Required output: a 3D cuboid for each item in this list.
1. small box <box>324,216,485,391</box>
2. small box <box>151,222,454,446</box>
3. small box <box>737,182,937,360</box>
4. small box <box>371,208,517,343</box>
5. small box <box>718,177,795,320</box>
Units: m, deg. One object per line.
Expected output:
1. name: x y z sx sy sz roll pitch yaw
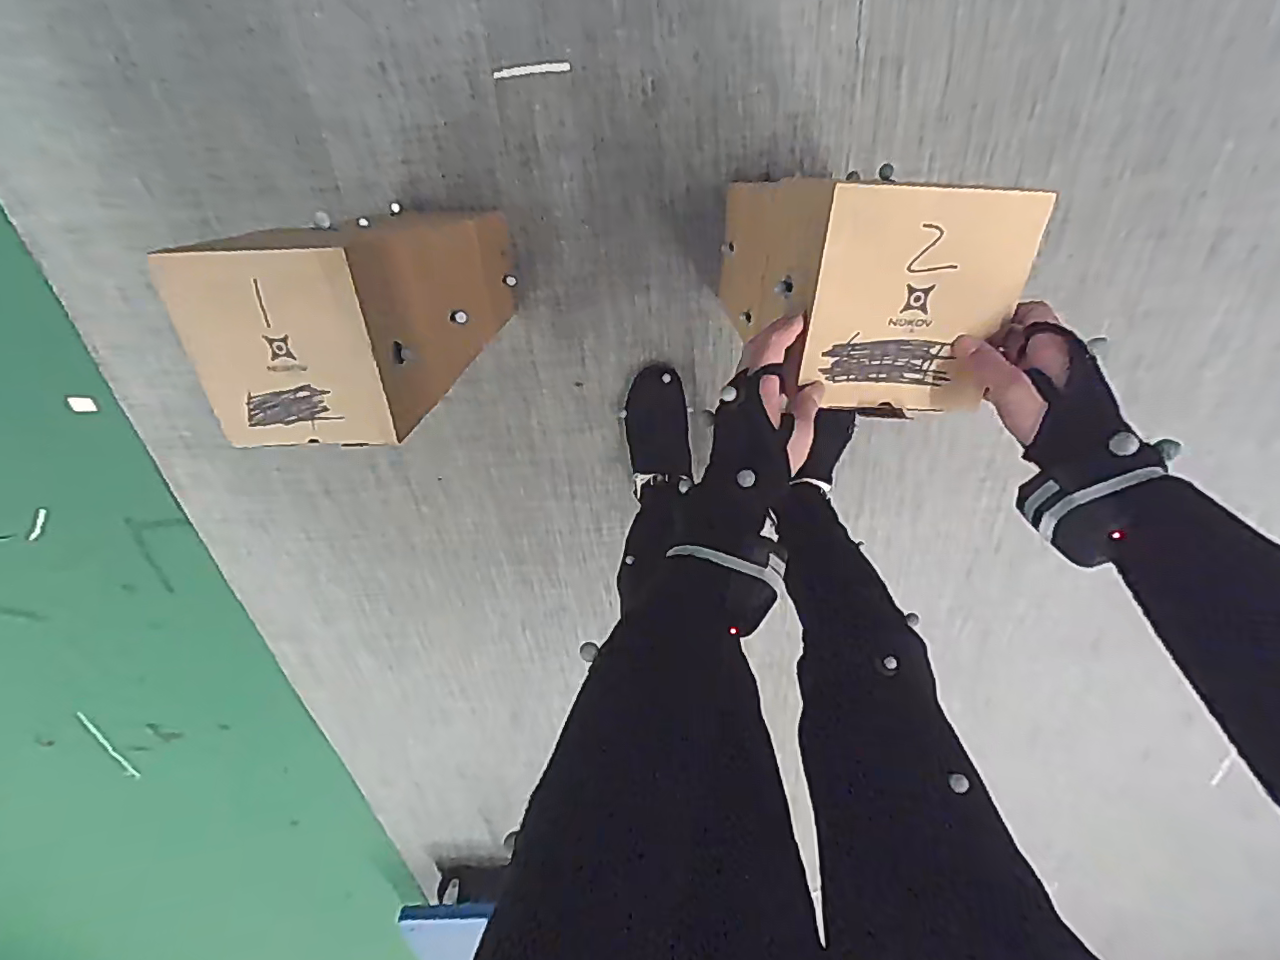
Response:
1. small box: -0.306 -0.226 0.681 0.168 0.176 0.179 0 122 1
2. small box: -0.301 -0.149 0.535 0.168 0.176 0.179 -1 121 2
3. small box: 0.215 -0.255 0.649 0.168 0.176 0.179 1 121 0
4. small box: -0.298 -0.312 0.819 0.179 0.176 0.168 0 121 1
5. small box: 0.212 -0.335 0.789 0.168 0.176 0.179 7 122 0
